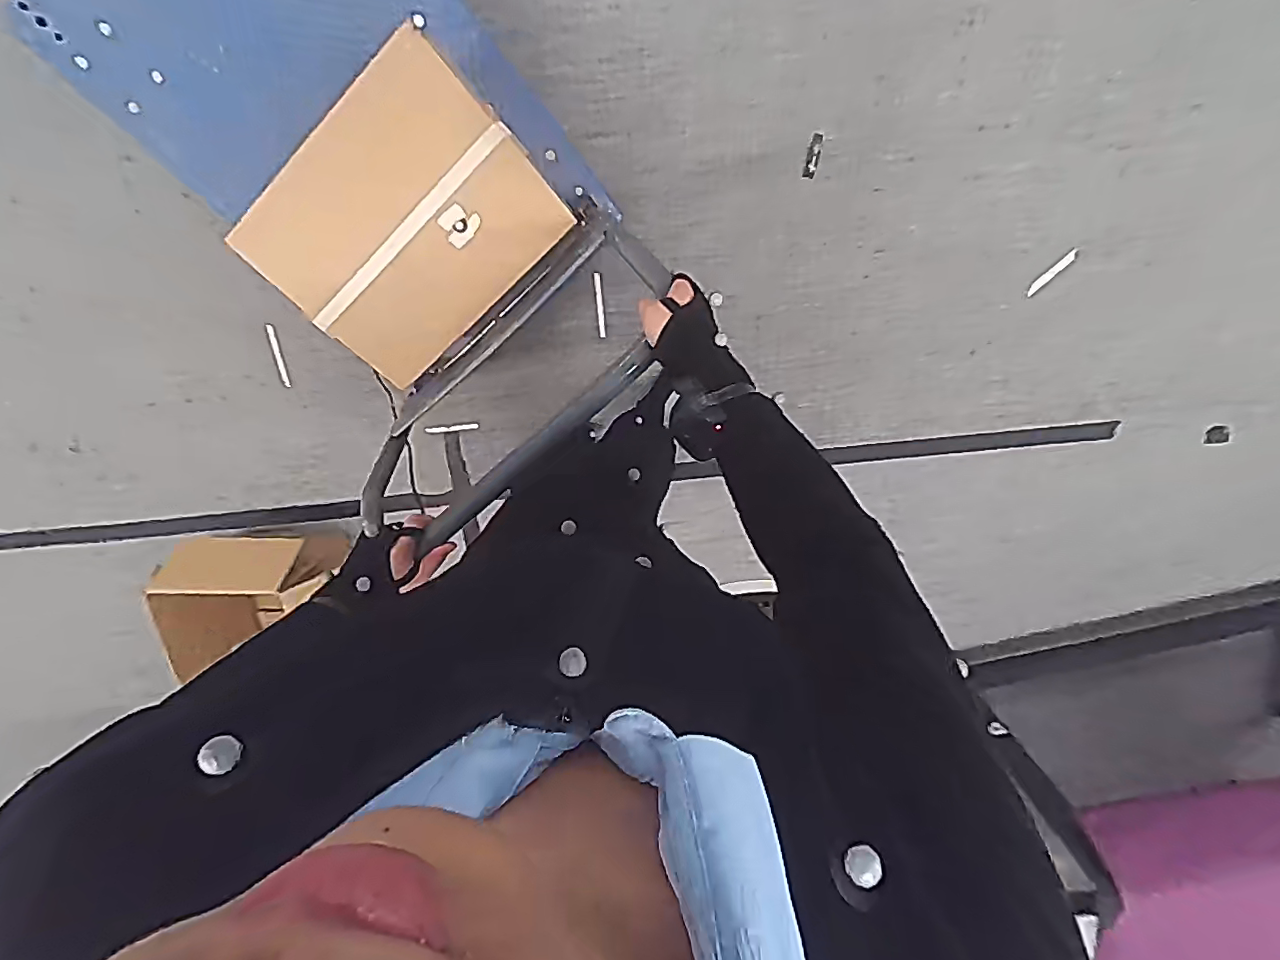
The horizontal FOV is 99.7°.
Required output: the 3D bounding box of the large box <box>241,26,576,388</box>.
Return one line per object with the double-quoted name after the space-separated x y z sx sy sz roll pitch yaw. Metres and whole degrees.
-0.361 -0.439 0.938 0.408 0.320 0.320 -40 118 12 "large box"
